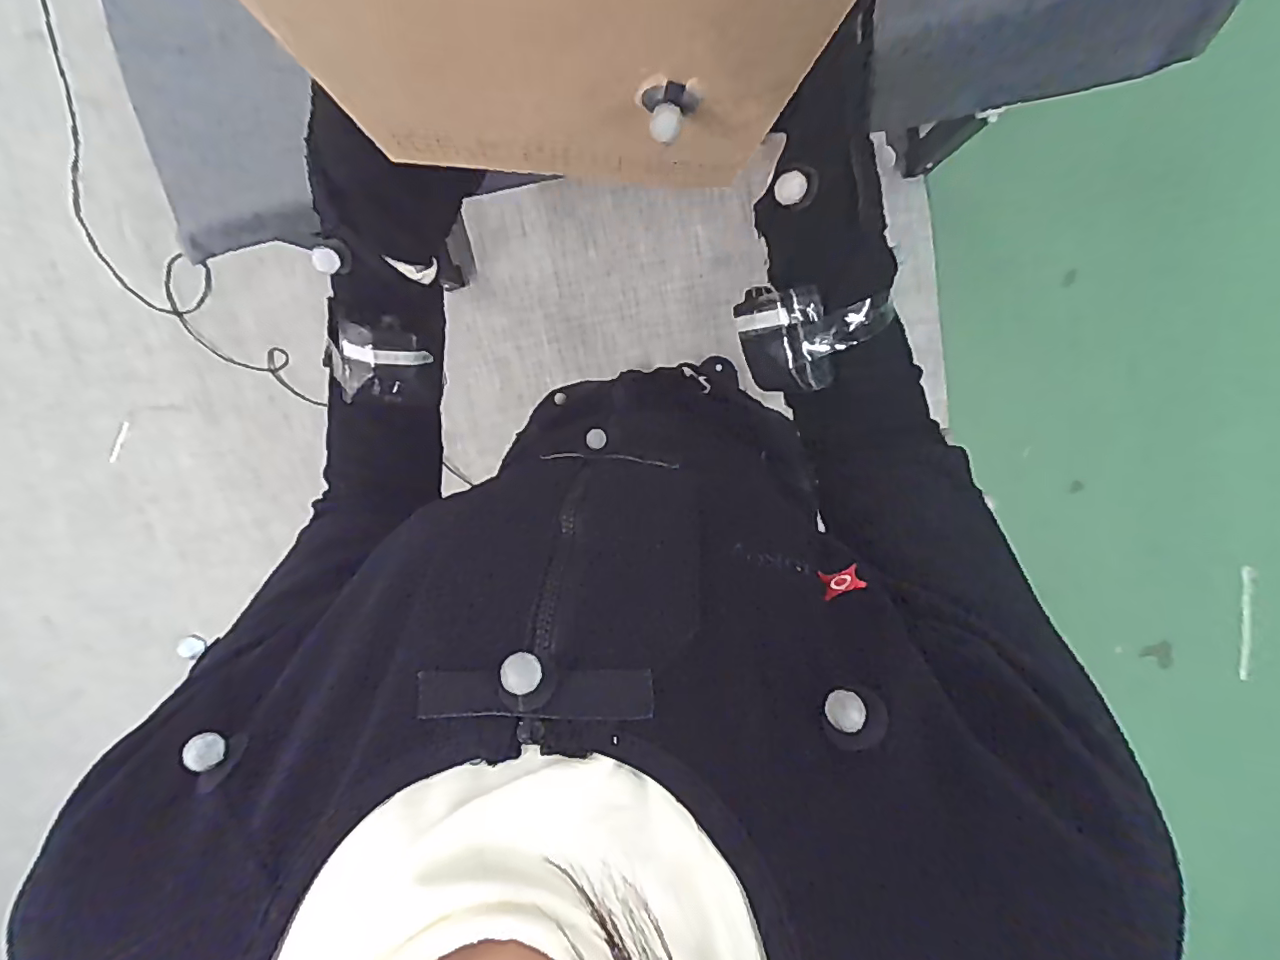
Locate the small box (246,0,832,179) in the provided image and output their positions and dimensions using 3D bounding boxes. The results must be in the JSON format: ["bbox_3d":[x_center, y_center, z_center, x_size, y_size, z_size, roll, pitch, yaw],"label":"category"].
[{"bbox_3d":[-0.032,-0.226,0.191,0.179,0.176,0.168,2,99,-3],"label":"small box"}]
